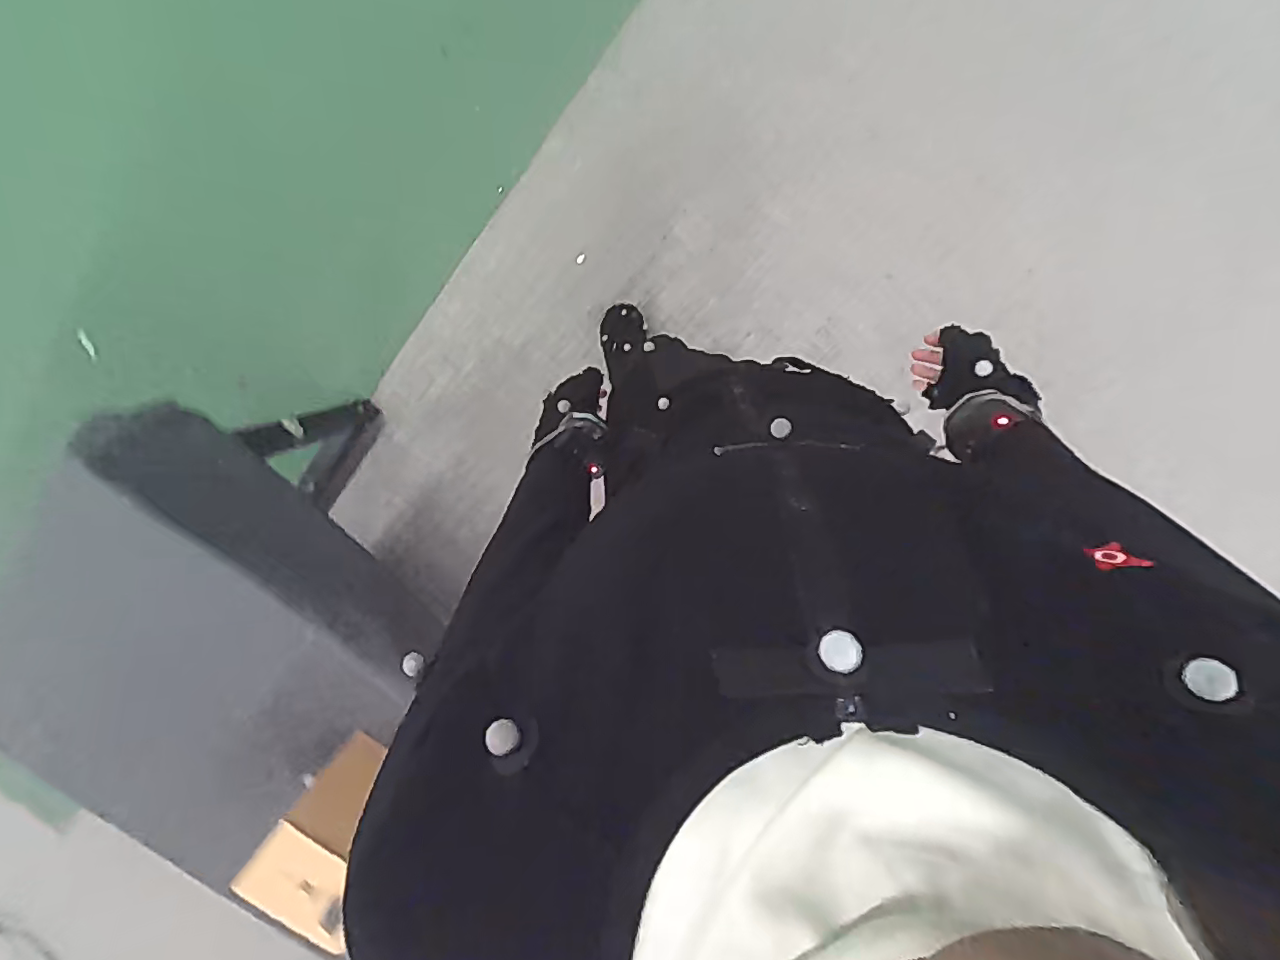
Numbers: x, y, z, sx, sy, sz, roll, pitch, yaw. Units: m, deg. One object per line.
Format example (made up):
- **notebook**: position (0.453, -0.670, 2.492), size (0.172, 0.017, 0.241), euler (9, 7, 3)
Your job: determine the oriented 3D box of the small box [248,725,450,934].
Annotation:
- **small box**: position (-0.423, 0.514, 0.815), size (0.179, 0.176, 0.168), euler (38, 107, -5)
